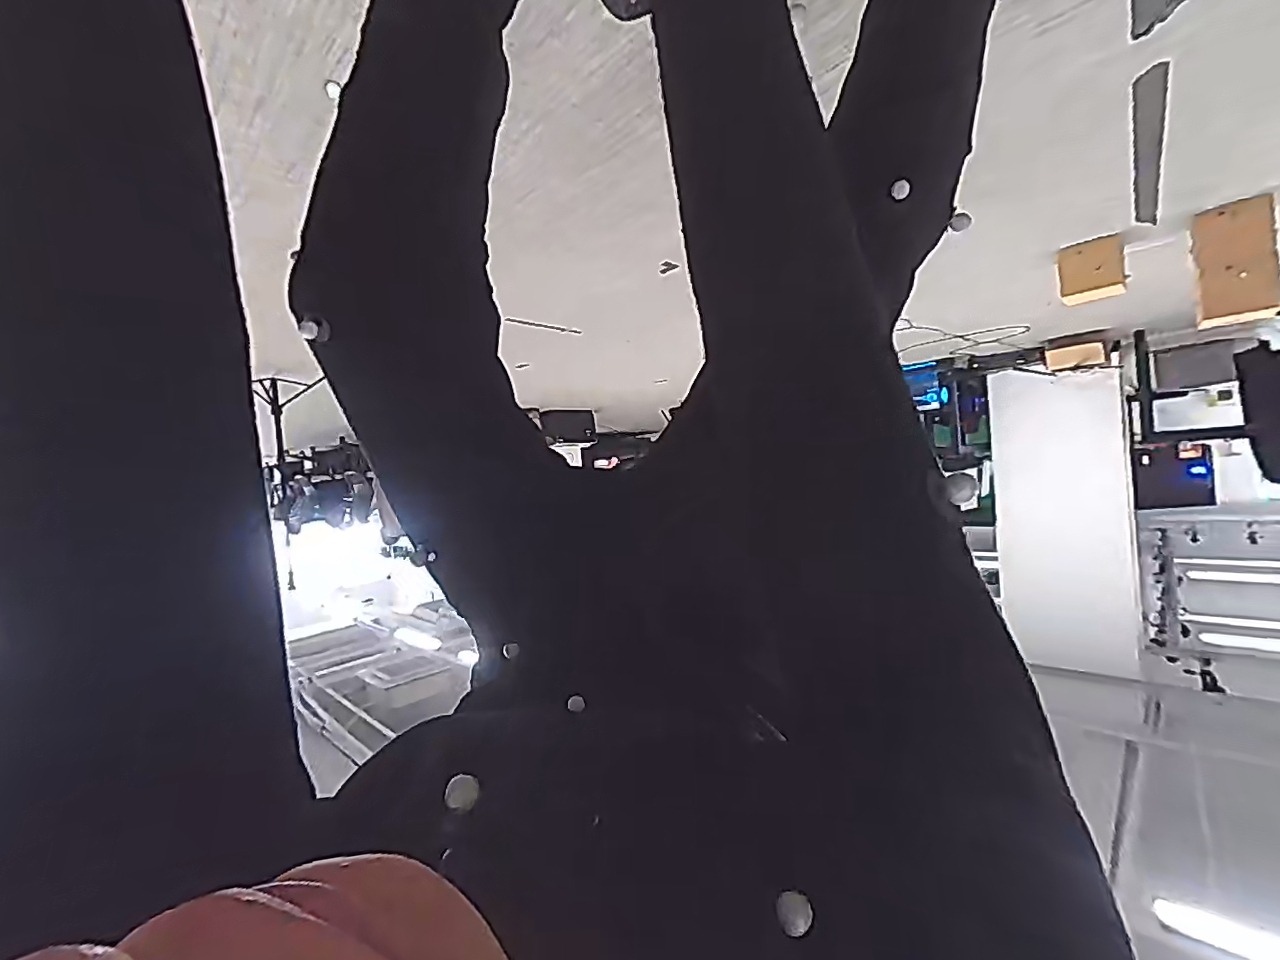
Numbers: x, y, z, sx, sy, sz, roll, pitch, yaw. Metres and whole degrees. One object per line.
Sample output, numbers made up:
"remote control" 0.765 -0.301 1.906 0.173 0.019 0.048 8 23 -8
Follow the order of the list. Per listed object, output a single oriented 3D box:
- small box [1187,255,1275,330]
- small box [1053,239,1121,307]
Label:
"small box" 1.834 -0.580 1.684 0.168 0.176 0.179 -5 180 42
"small box" 1.576 -0.728 1.905 0.179 0.176 0.168 -6 -179 -44
